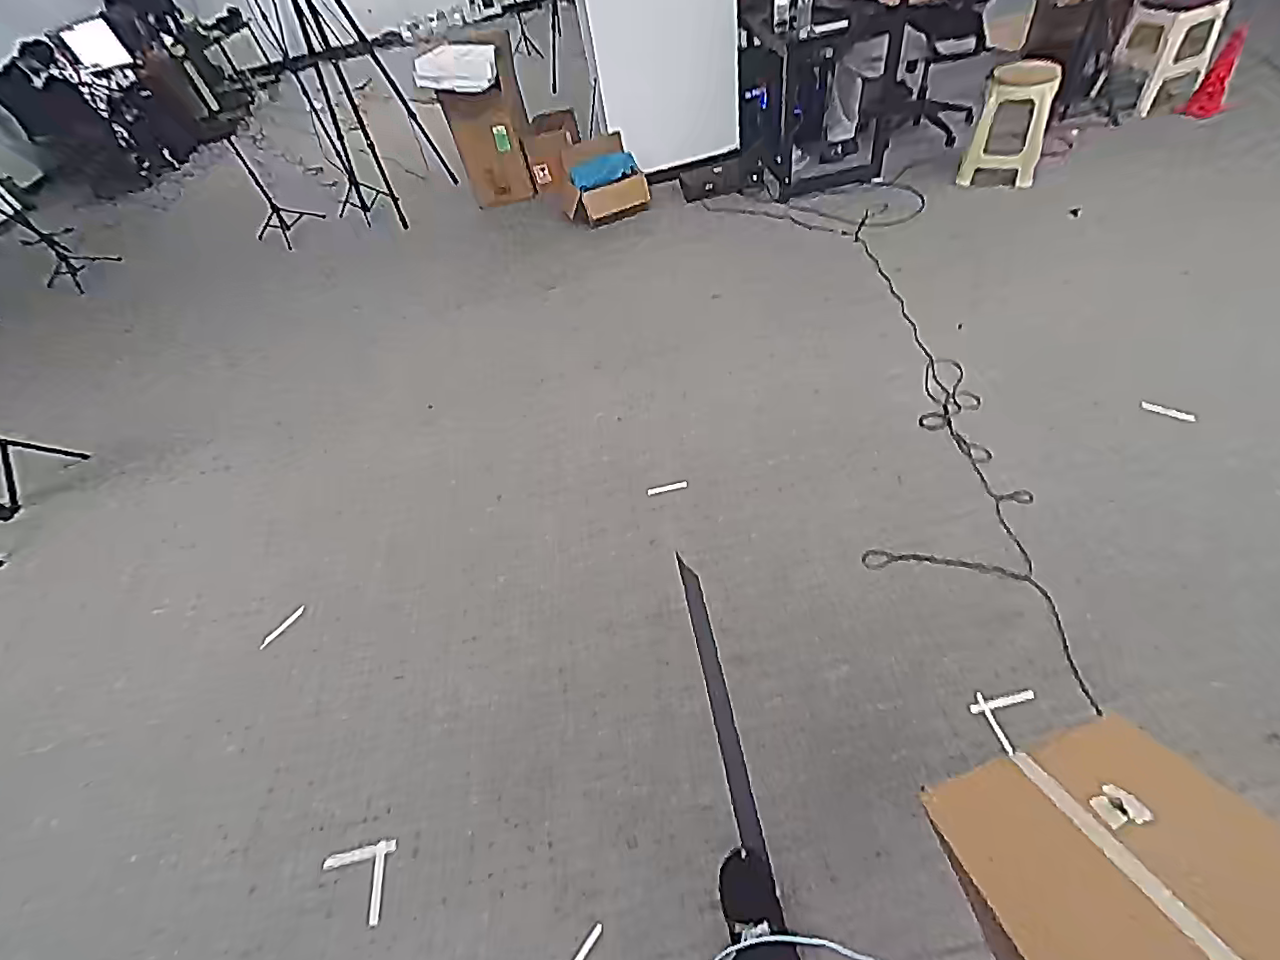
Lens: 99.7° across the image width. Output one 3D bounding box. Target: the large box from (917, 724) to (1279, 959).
[{"bbox_3d":[0.622,0.584,0.637,0.320,0.320,0.408,-24,6,4],"label":"large box"}]
